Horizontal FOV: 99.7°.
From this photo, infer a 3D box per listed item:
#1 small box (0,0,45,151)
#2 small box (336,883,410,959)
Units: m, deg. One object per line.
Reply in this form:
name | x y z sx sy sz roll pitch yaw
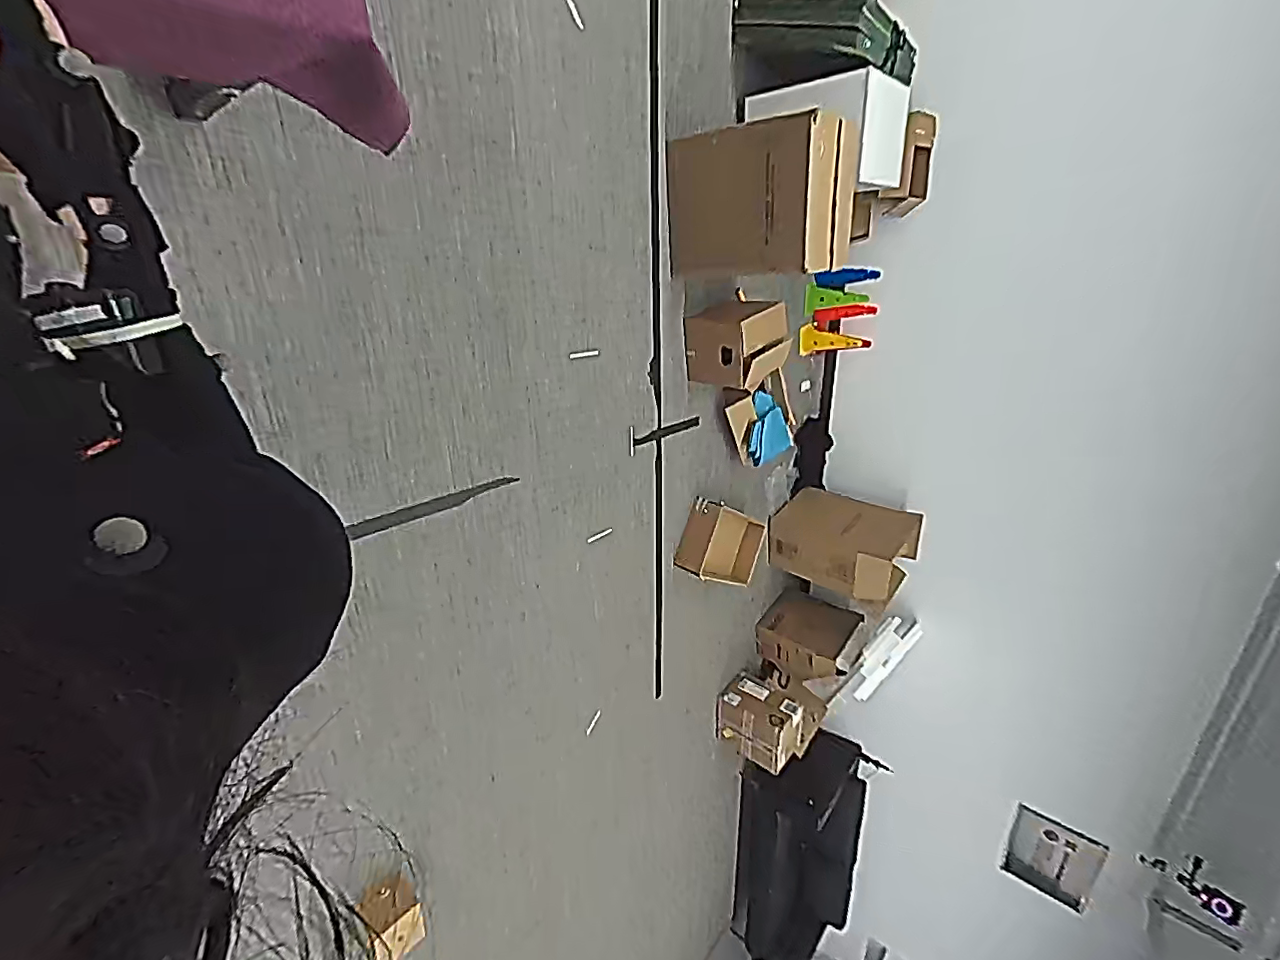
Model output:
small box | -0.519 -0.321 0.326 0.179 0.176 0.168 -23 108 -48
small box | -0.918 1.550 1.859 0.168 0.176 0.179 -21 118 -49
